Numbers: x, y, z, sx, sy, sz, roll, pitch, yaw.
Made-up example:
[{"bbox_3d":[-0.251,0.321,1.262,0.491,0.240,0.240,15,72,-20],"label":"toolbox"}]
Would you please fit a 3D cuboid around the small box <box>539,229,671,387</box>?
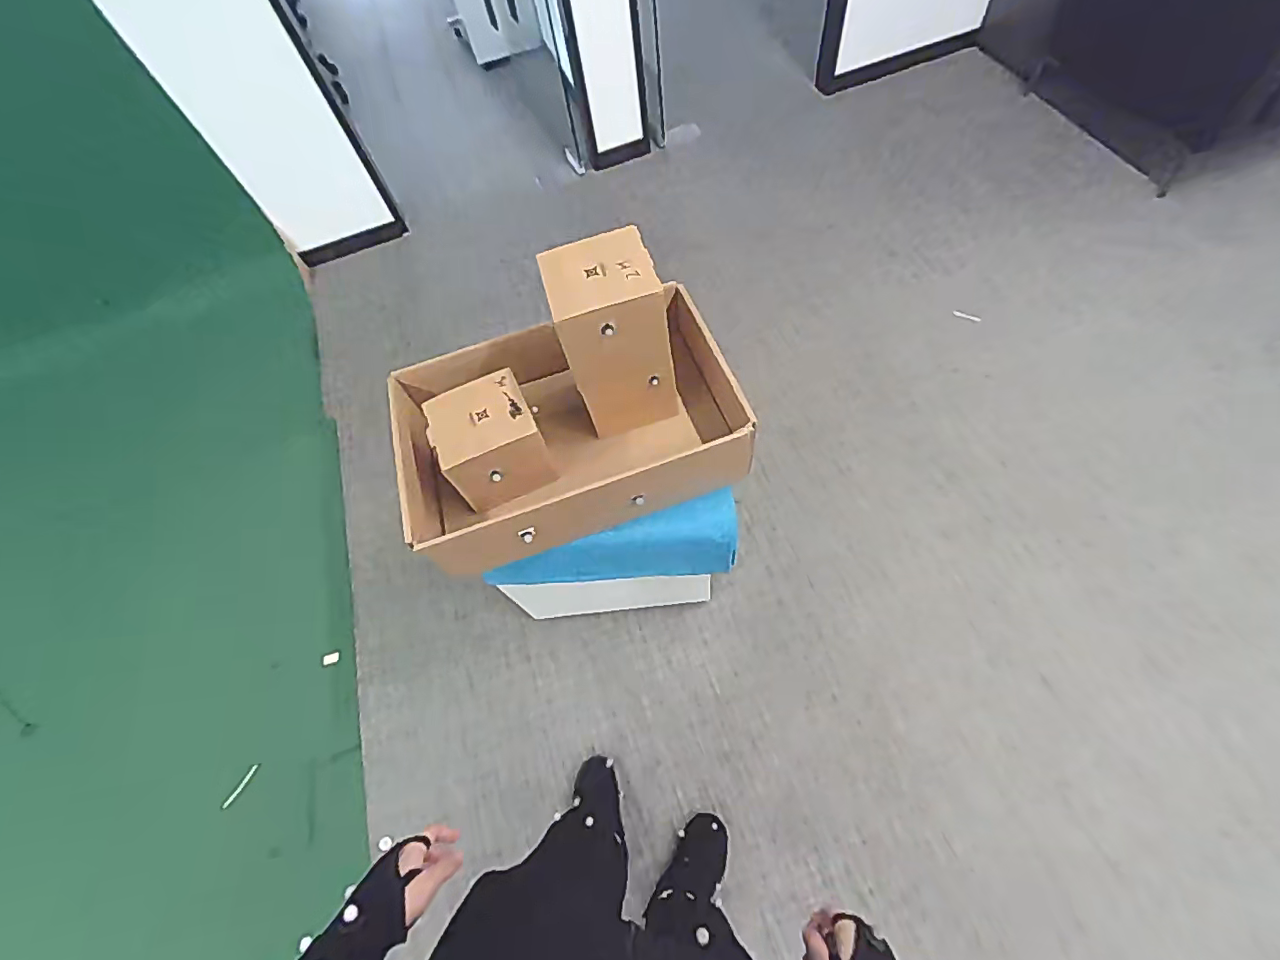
[{"bbox_3d":[-0.055,-0.284,0.919,0.179,0.176,0.168,-16,61,-1],"label":"small box"}]
